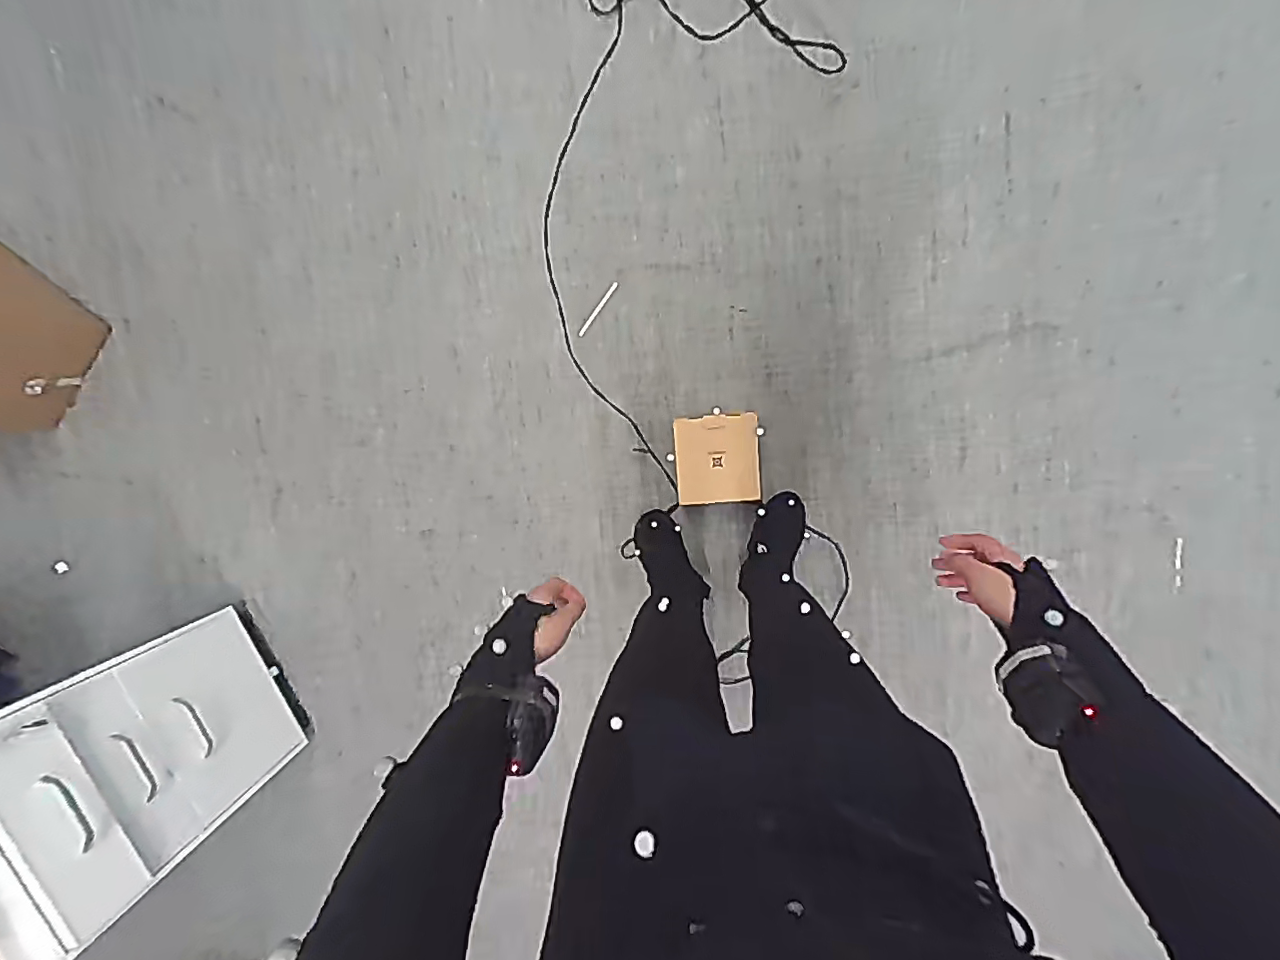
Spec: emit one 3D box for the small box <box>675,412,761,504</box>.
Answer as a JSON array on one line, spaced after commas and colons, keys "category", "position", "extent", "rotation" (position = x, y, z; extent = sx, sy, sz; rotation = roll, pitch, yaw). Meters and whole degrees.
[{"category": "small box", "position": [0.163, -0.052, 1.154], "extent": [0.168, 0.176, 0.179], "rotation": [-4, 97, 5]}]
